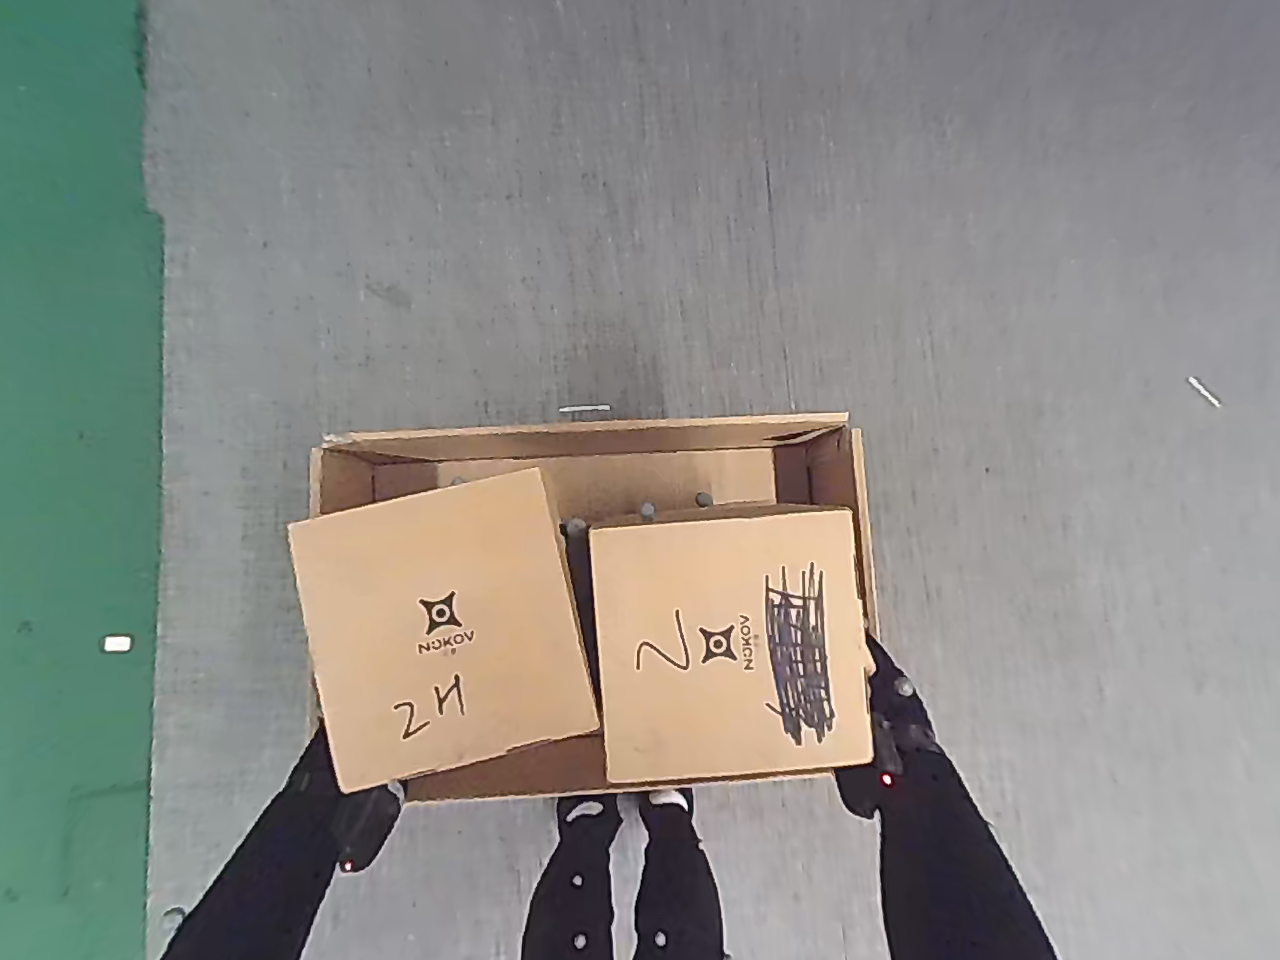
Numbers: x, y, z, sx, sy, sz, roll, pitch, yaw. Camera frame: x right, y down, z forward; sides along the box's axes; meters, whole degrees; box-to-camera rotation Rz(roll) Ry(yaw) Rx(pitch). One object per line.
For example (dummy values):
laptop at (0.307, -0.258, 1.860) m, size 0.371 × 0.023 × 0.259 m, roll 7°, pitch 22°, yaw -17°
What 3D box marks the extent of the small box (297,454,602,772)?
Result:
small box at (-0.128, 0.089, 0.428) m, size 0.168 × 0.176 × 0.179 m, roll -13°, pitch 87°, yaw -2°
